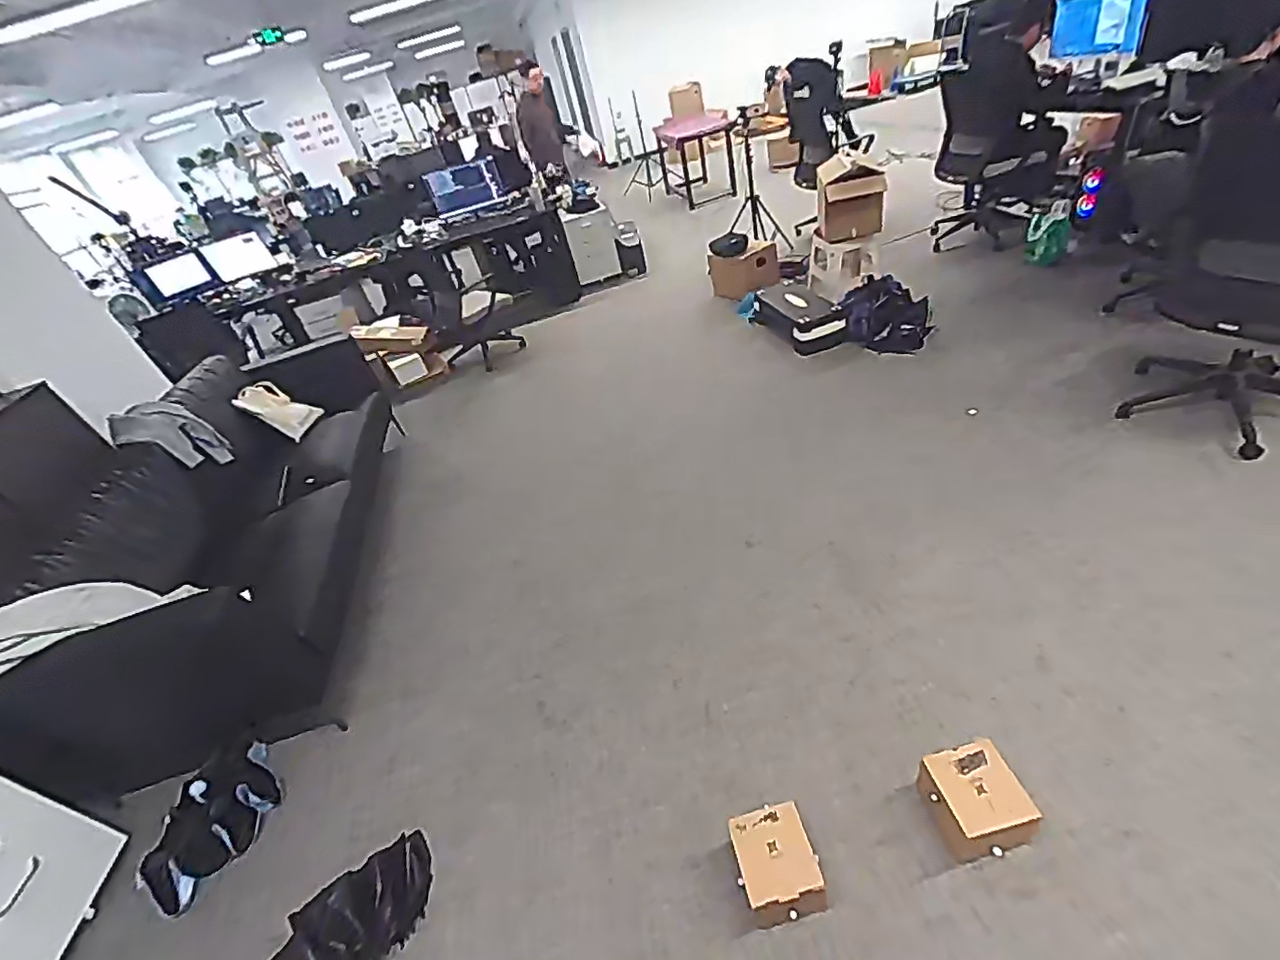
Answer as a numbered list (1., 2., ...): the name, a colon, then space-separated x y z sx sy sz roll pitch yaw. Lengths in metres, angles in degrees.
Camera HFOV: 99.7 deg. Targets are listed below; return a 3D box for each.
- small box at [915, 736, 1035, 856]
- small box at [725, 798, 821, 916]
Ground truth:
1. small box: 0.765 0.737 1.261 0.168 0.176 0.179 -18 39 2
2. small box: 0.312 0.885 1.263 0.168 0.176 0.179 -17 38 1
